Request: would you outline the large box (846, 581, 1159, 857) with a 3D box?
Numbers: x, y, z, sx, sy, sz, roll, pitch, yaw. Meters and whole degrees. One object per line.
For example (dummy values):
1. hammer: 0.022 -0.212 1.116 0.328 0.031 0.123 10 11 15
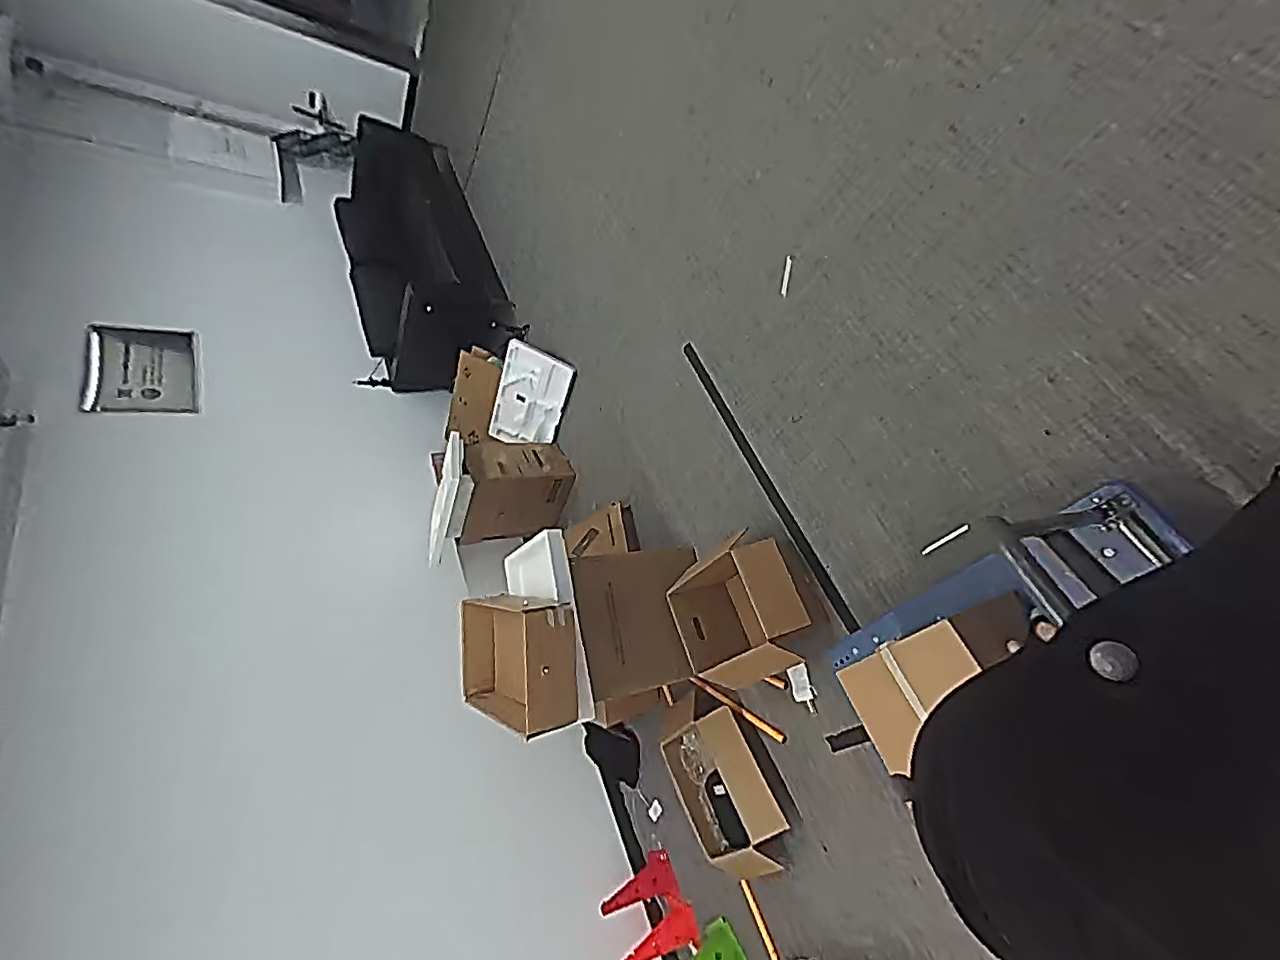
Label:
1. large box: 0.732 0.478 1.129 0.320 0.320 0.408 -53 53 43
